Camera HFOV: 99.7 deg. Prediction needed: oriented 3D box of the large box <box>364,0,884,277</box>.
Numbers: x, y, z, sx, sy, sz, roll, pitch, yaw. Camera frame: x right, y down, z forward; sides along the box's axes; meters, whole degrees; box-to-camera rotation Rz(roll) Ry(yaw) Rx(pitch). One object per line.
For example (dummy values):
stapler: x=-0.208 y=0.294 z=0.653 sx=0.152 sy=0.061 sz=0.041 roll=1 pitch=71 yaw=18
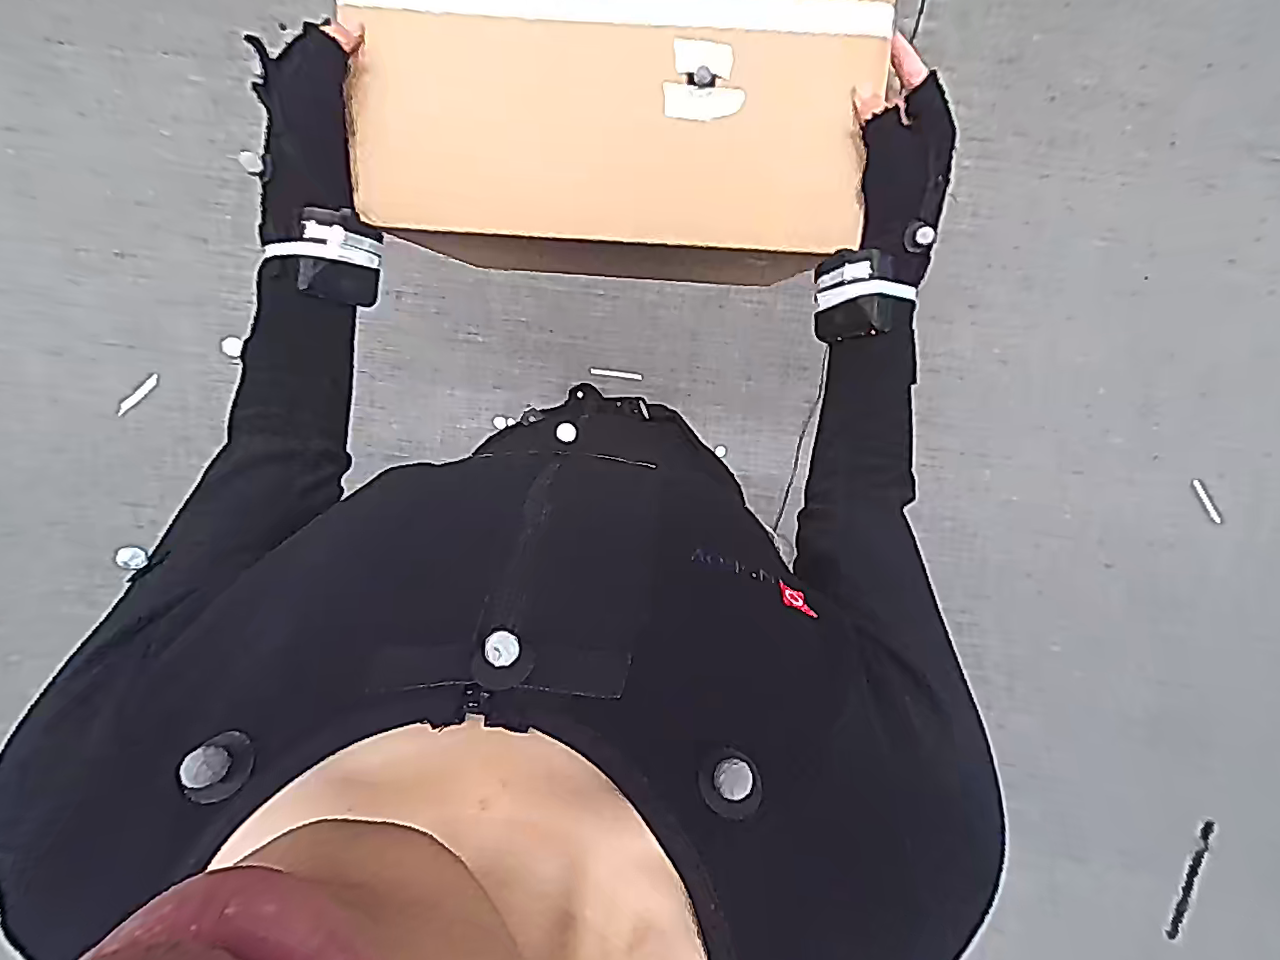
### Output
large box: x=-0.015 y=-0.392 z=0.557 sx=0.408 sy=0.320 sz=0.320 roll=3 pitch=106 yaw=-1
